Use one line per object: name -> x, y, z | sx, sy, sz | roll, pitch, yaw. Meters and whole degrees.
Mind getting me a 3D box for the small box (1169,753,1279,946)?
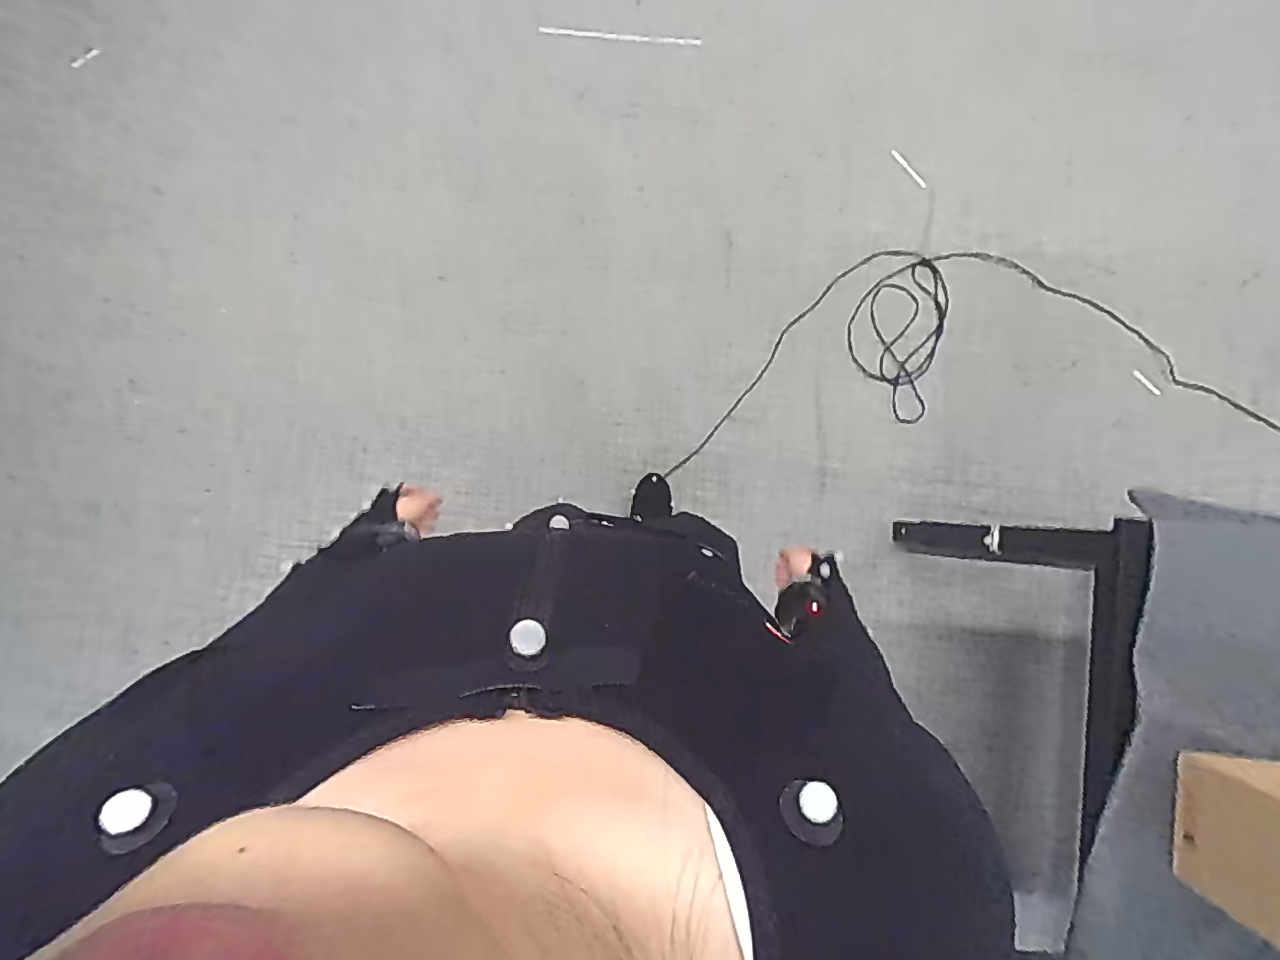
small box -> 0.800, 0.447, 0.642 | 0.179, 0.176, 0.168 | 6, 87, 0
